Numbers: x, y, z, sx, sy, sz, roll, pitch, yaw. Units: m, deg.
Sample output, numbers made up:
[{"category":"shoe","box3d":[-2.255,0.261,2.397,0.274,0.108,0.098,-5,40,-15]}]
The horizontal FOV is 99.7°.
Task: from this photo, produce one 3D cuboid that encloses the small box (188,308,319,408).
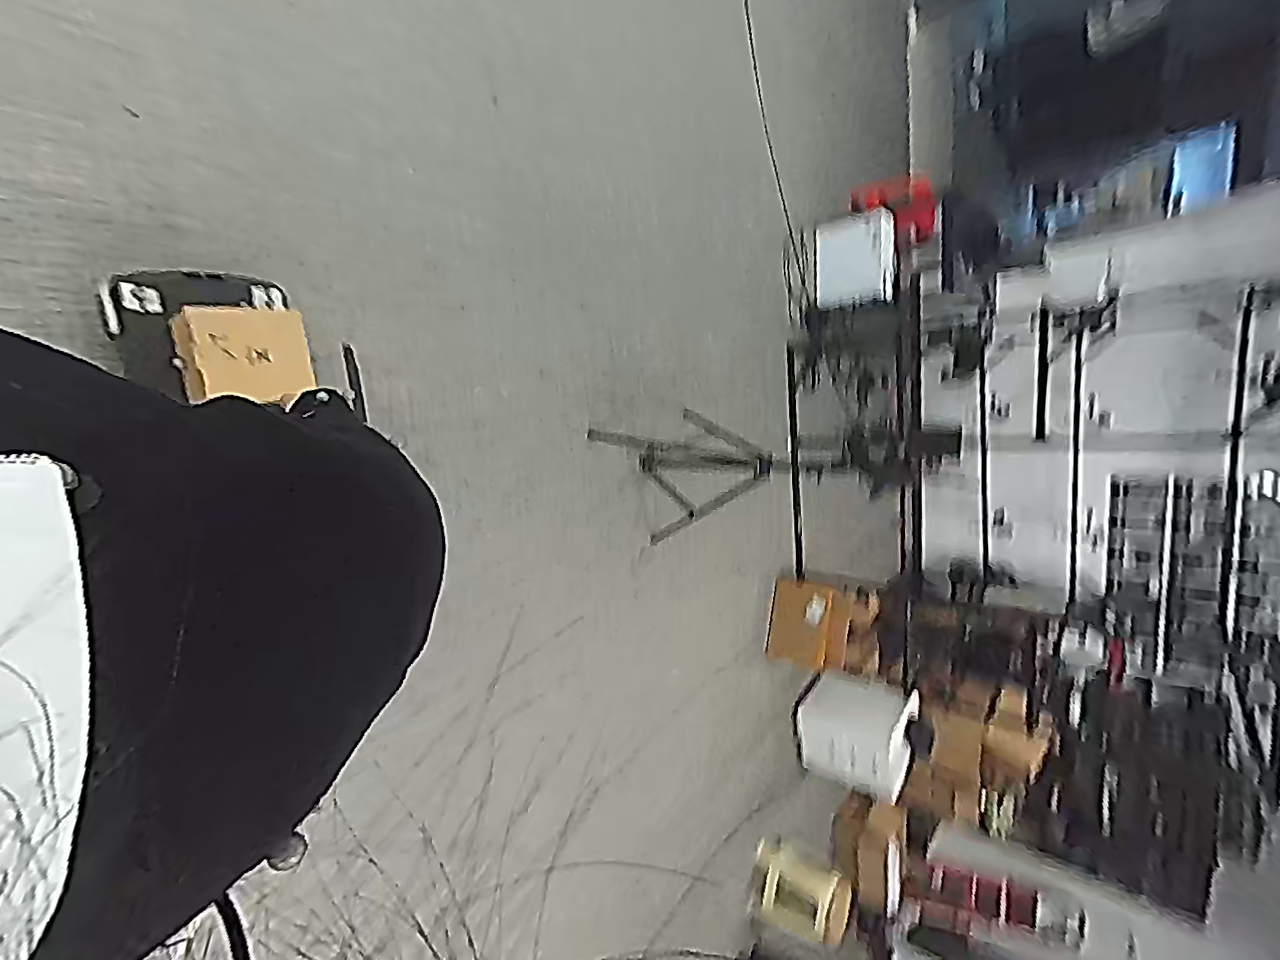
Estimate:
[{"category":"small box","box3d":[-0.750,-0.228,1.035,0.179,0.176,0.168,-16,104,-46]}]
